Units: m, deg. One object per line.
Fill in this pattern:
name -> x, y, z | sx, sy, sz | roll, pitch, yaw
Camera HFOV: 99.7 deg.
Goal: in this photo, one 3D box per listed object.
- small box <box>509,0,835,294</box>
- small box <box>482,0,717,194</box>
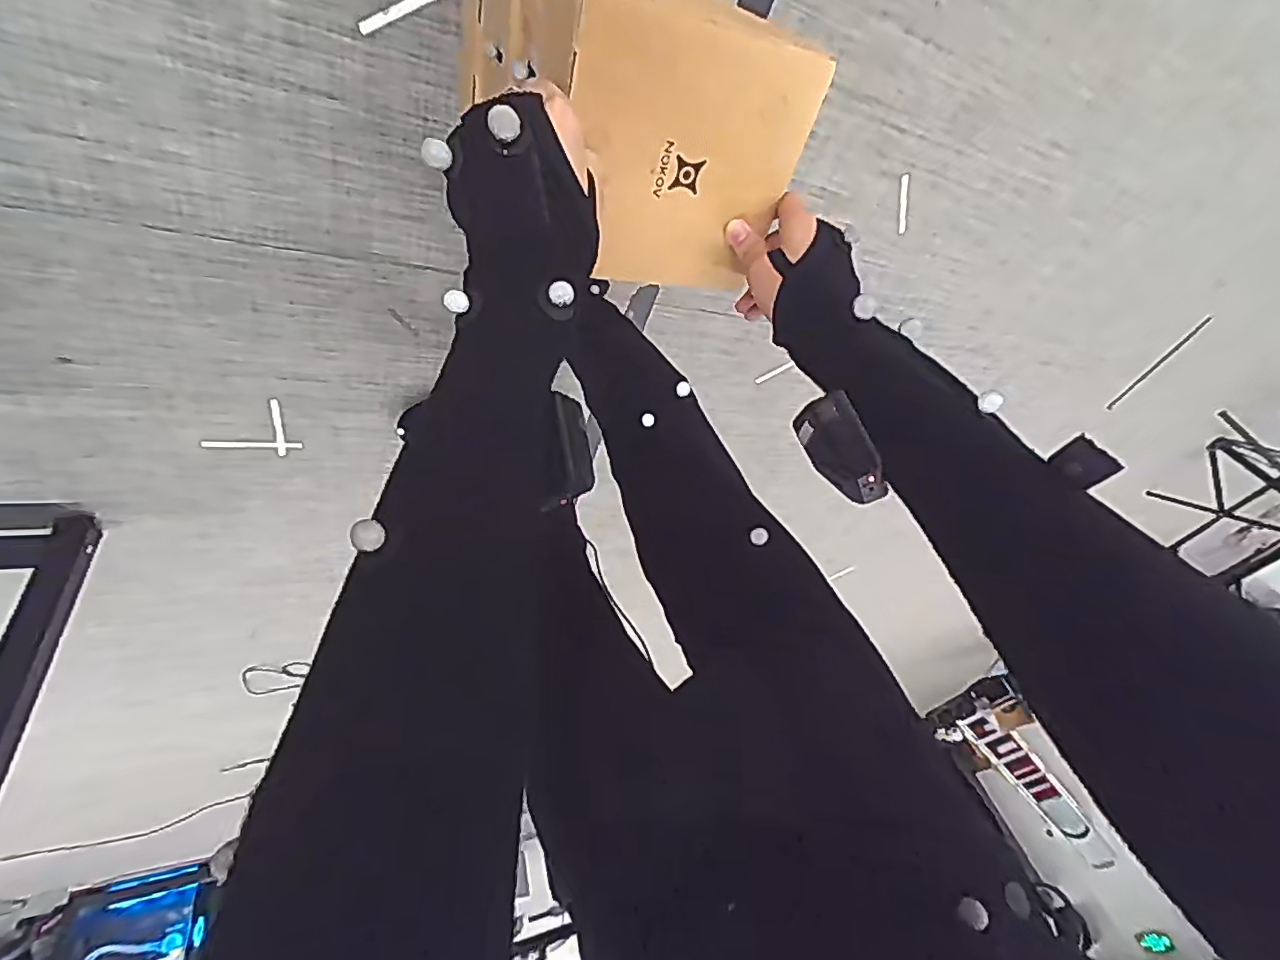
small box -> 0.004, -0.268, 0.419 | 0.179, 0.176, 0.168 | -2, 139, -23
small box -> -0.055, -0.386, 0.514 | 0.168, 0.176, 0.179 | -3, 139, -22
